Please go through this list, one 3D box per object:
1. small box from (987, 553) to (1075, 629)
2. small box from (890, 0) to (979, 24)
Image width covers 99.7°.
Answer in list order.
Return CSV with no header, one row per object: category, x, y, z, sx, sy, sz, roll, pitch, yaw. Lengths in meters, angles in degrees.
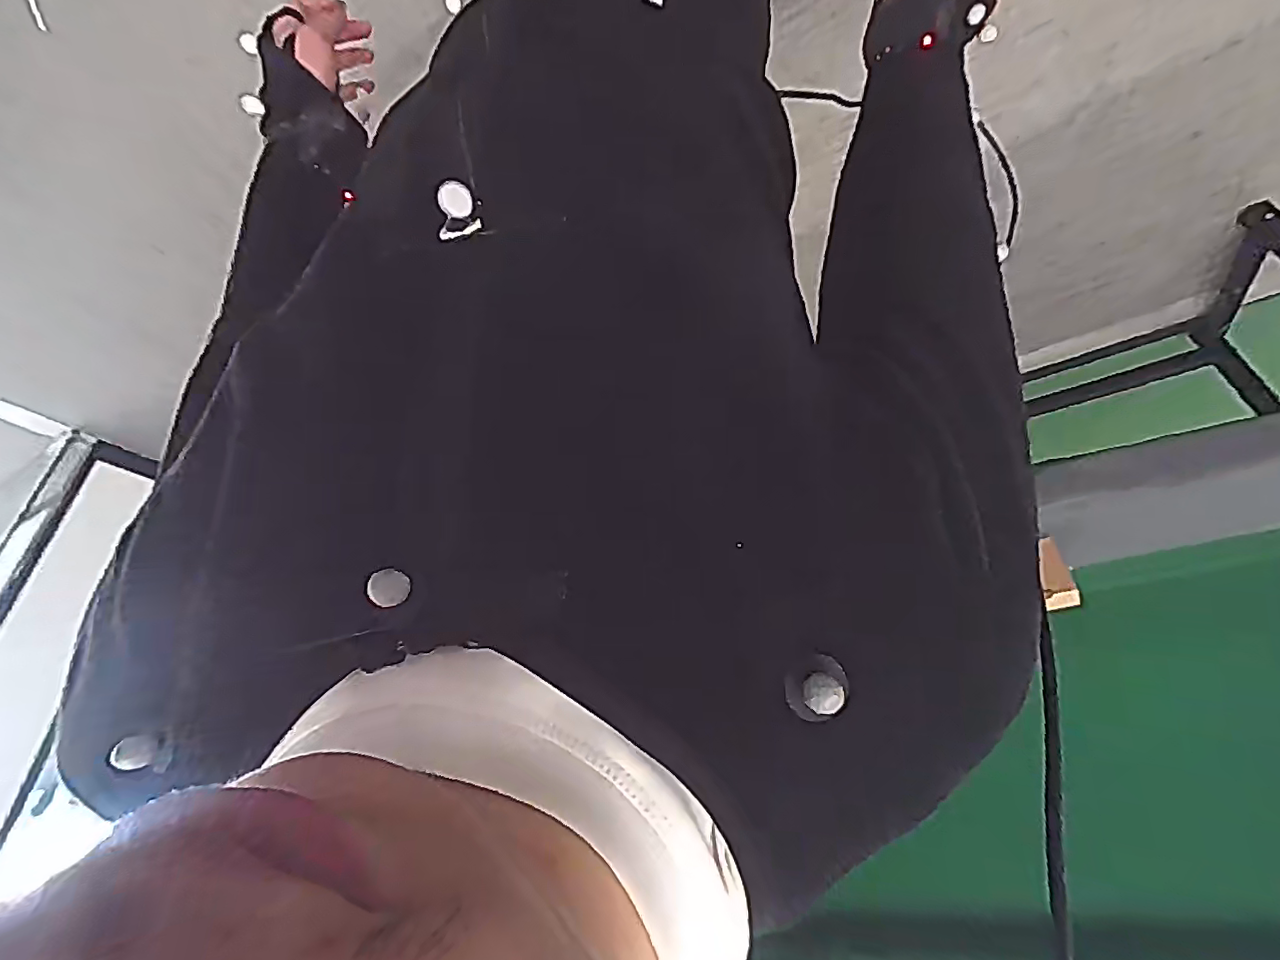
small box,1.178,0.333,1.635,0.168,0.176,0.179,-24,142,29
small box,0.297,-0.575,0.500,0.168,0.176,0.179,17,113,-8
